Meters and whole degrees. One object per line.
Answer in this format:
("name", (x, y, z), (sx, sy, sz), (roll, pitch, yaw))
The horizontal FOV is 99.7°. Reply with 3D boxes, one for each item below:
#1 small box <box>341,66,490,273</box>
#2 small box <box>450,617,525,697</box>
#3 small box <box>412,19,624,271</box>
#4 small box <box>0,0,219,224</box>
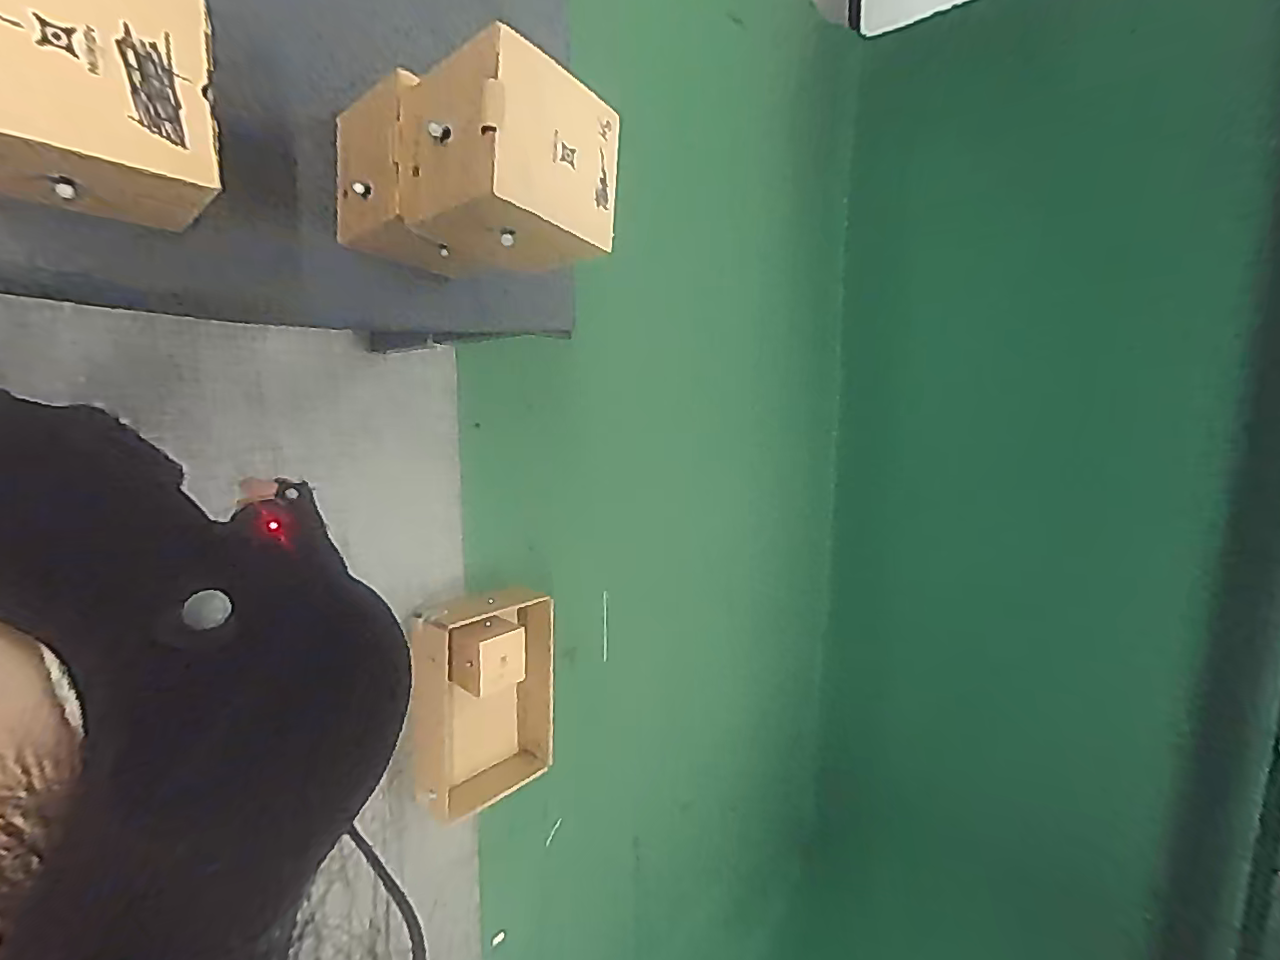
("small box", (-0.275, -0.386, 0.716), (0.179, 0.176, 0.168), (-3, 98, -51))
("small box", (-0.474, 0.536, 1.675), (0.168, 0.176, 0.179), (-6, 101, -49))
("small box", (-0.142, -0.356, 0.623), (0.179, 0.176, 0.168), (2, 94, -50))
("small box", (-0.491, -0.336, 0.459), (0.179, 0.176, 0.168), (-7, 99, -48))
